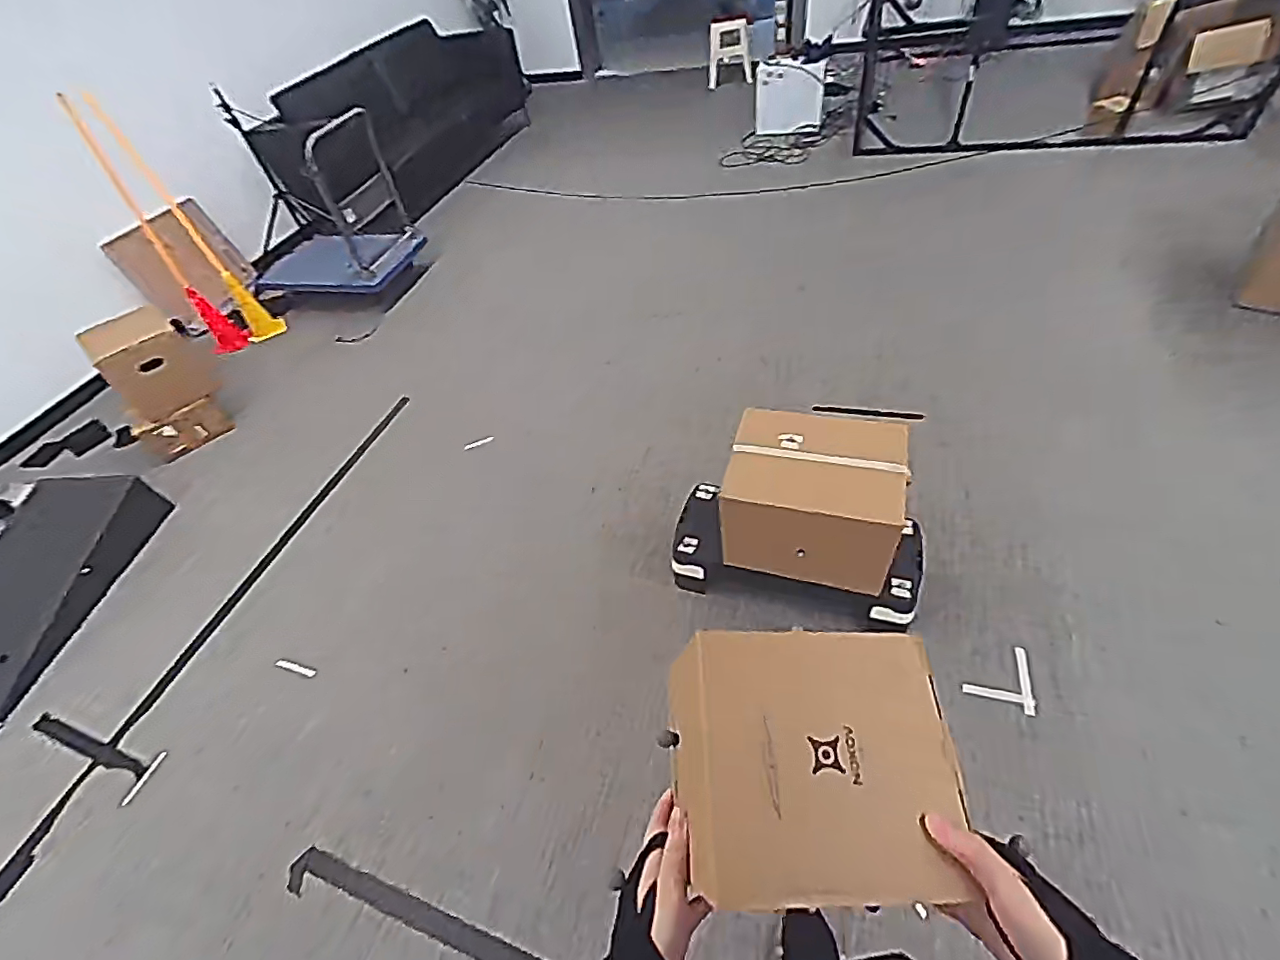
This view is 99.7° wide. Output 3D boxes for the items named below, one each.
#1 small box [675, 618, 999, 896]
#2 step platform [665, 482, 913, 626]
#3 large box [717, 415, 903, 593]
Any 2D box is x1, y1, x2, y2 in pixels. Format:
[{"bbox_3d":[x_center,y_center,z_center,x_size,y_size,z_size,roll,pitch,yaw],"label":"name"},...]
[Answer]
[{"bbox_3d":[0.128,0.216,0.431,0.179,0.176,0.168,3,60,-4],"label":"small box"},{"bbox_3d":[0.418,0.220,1.580,0.684,0.204,0.286,13,53,23],"label":"step platform"},{"bbox_3d":[0.437,0.059,1.396,0.408,0.320,0.320,8,51,19],"label":"large box"}]
